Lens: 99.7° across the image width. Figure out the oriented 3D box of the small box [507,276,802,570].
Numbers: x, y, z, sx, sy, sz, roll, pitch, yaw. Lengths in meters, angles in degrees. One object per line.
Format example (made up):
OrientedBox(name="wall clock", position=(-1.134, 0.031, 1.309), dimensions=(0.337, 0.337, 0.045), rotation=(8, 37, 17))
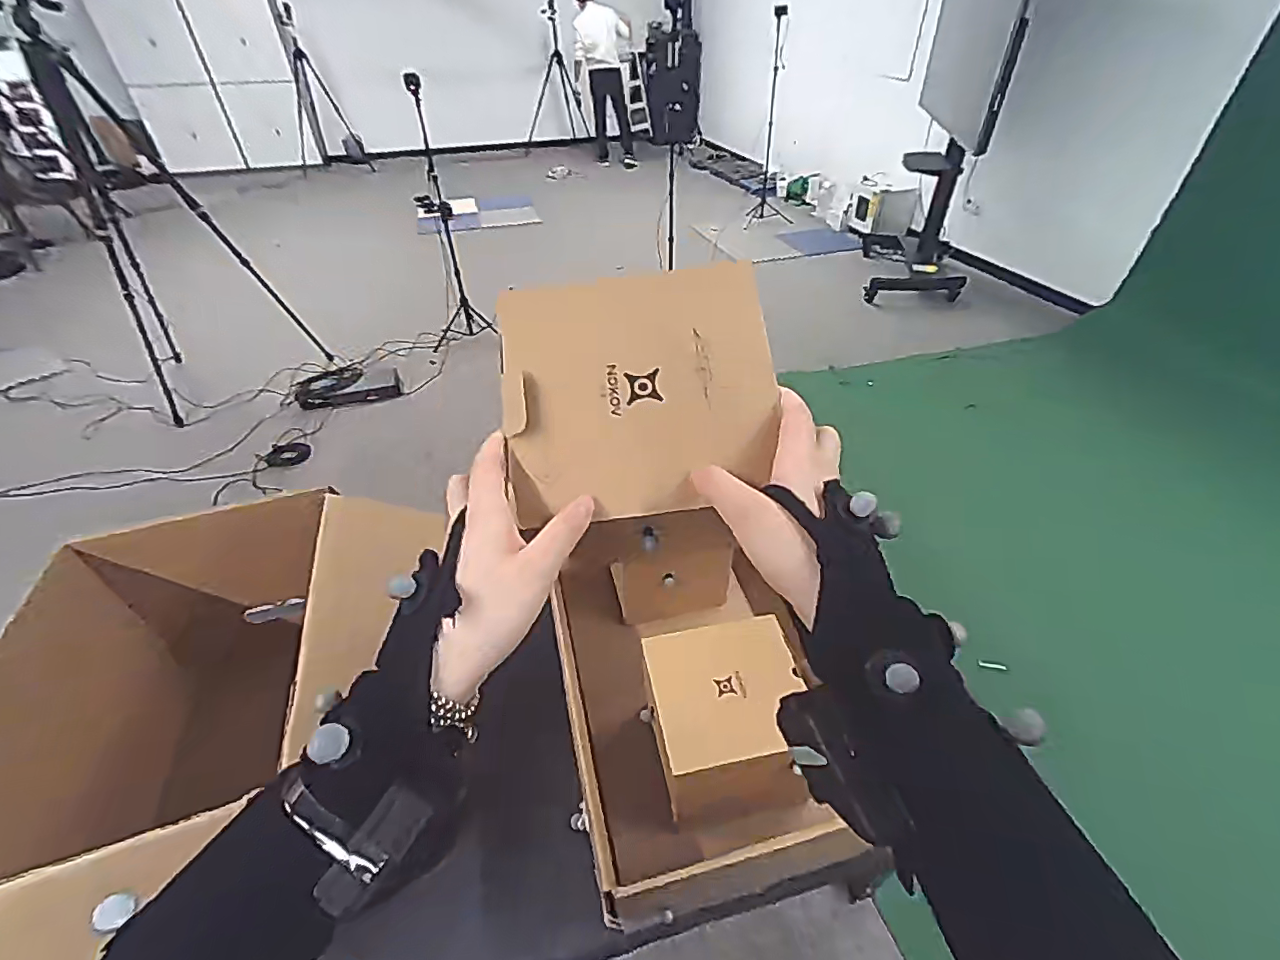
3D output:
OrientedBox(name="small box", position=(0.008, -0.028, 0.422), dimensions=(0.179, 0.176, 0.168), rotation=(-7, 74, 0))
